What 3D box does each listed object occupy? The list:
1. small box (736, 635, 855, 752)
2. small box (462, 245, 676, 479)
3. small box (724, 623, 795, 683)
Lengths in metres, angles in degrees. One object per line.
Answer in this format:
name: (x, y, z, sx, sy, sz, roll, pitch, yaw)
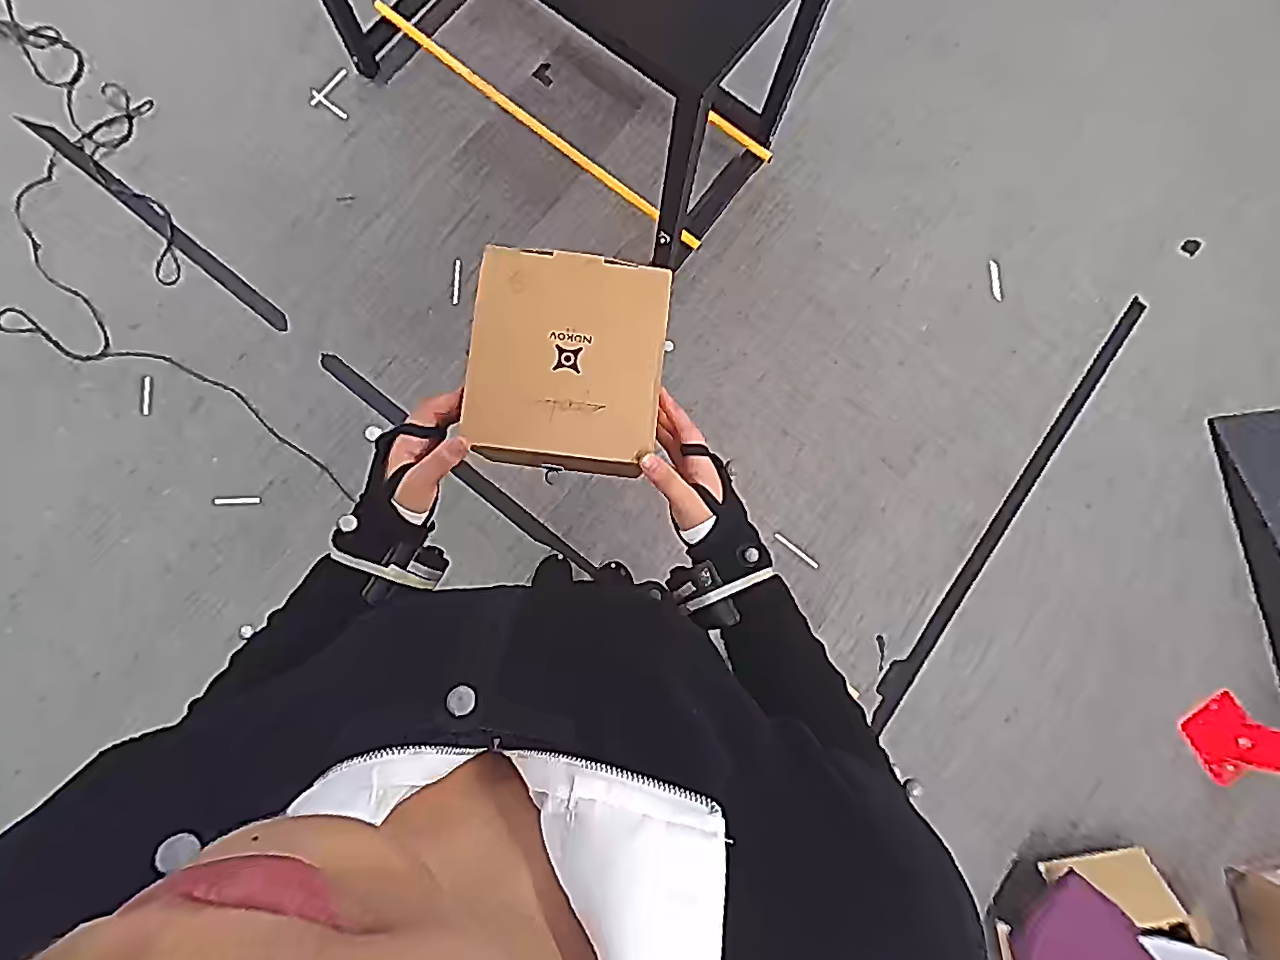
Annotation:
small box: (0.351, 0.481, 1.252, 0.179, 0.176, 0.168, 41, 81, 3)
small box: (-0.065, -0.101, 0.539, 0.168, 0.176, 0.179, 6, 86, -4)
small box: (0.341, 0.496, 1.416, 0.168, 0.176, 0.179, 41, 82, 3)
